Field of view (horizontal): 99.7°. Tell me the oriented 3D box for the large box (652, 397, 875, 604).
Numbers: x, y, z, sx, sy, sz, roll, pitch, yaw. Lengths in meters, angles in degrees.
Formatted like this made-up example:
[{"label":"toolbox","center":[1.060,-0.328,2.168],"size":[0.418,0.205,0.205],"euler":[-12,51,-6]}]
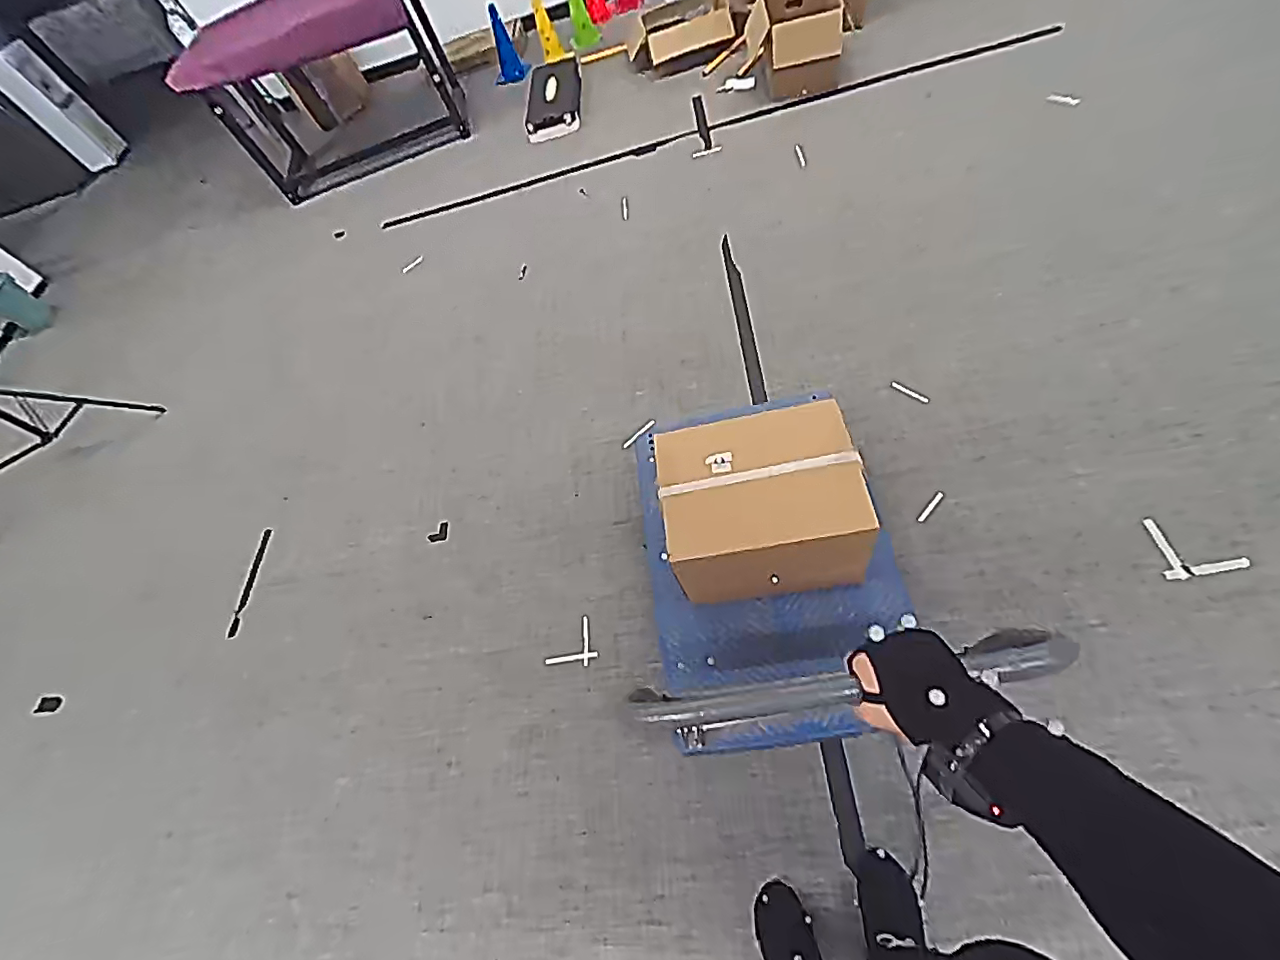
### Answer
[{"label":"large box","center":[0.269,0.064,1.230],"size":[0.408,0.320,0.320],"euler":[-12,57,10]}]
